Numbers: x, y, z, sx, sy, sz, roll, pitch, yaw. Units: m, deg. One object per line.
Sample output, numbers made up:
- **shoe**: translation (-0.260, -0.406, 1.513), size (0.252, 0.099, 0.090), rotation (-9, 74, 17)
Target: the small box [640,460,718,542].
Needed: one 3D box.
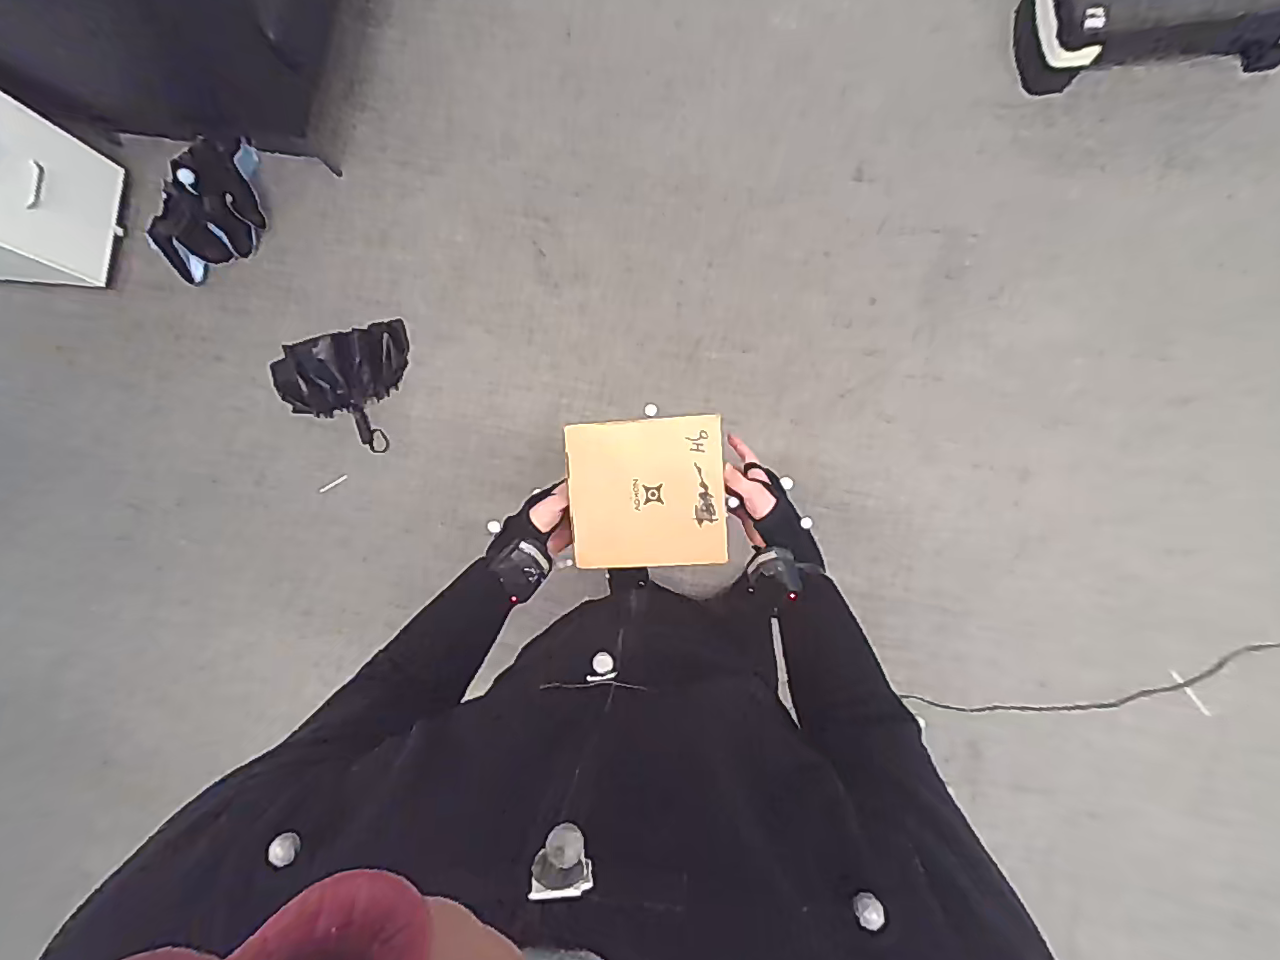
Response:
- **small box**: translation (0.096, 0.053, 1.320), size (0.168, 0.176, 0.179), rotation (6, 87, 6)
